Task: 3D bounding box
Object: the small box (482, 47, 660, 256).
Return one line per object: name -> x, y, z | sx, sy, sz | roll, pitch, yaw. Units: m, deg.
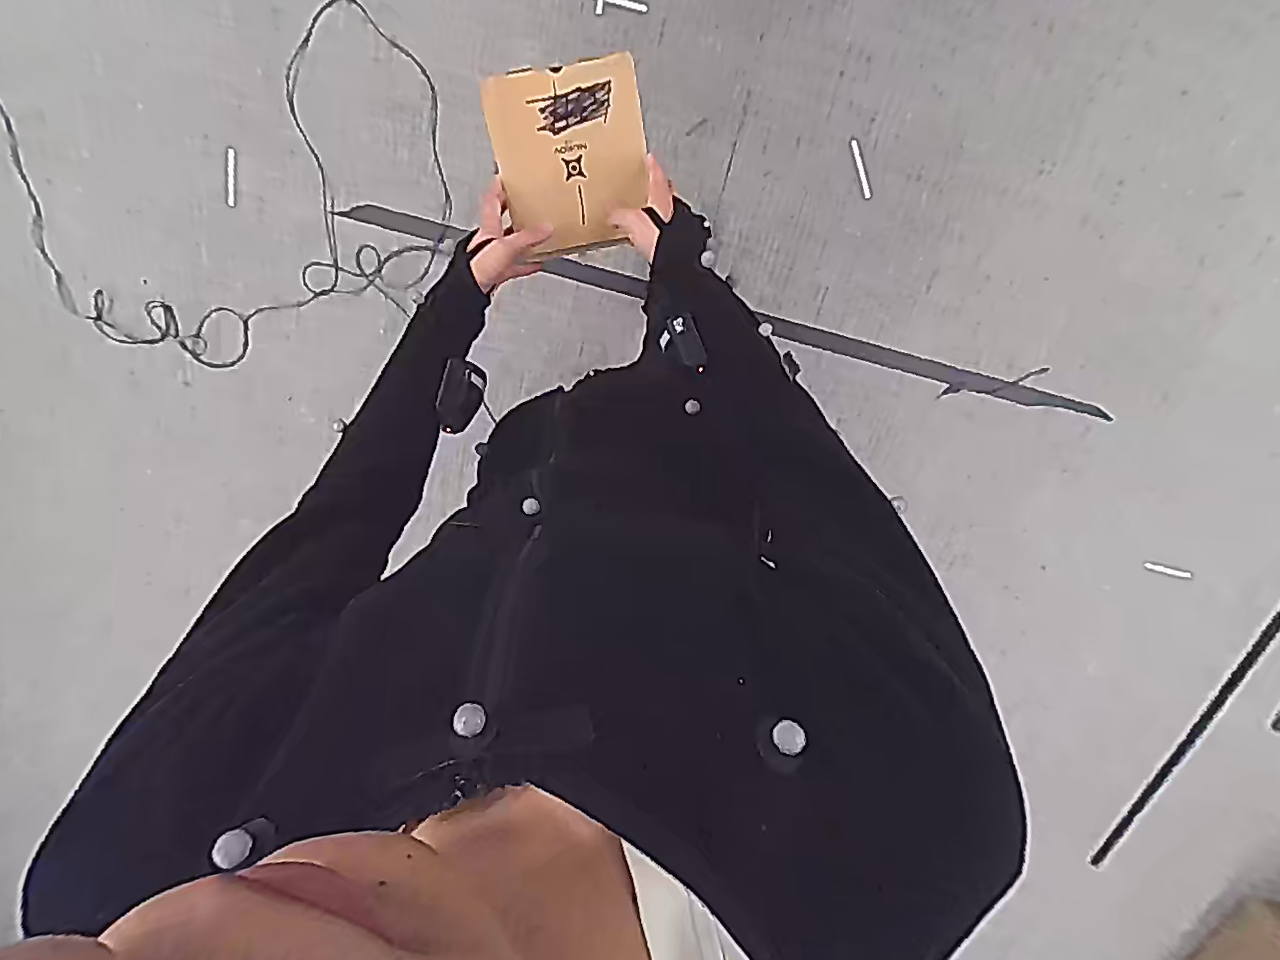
small box -> -0.081, -0.381, 0.660 | 0.168, 0.176, 0.179 | -12, 112, -3
